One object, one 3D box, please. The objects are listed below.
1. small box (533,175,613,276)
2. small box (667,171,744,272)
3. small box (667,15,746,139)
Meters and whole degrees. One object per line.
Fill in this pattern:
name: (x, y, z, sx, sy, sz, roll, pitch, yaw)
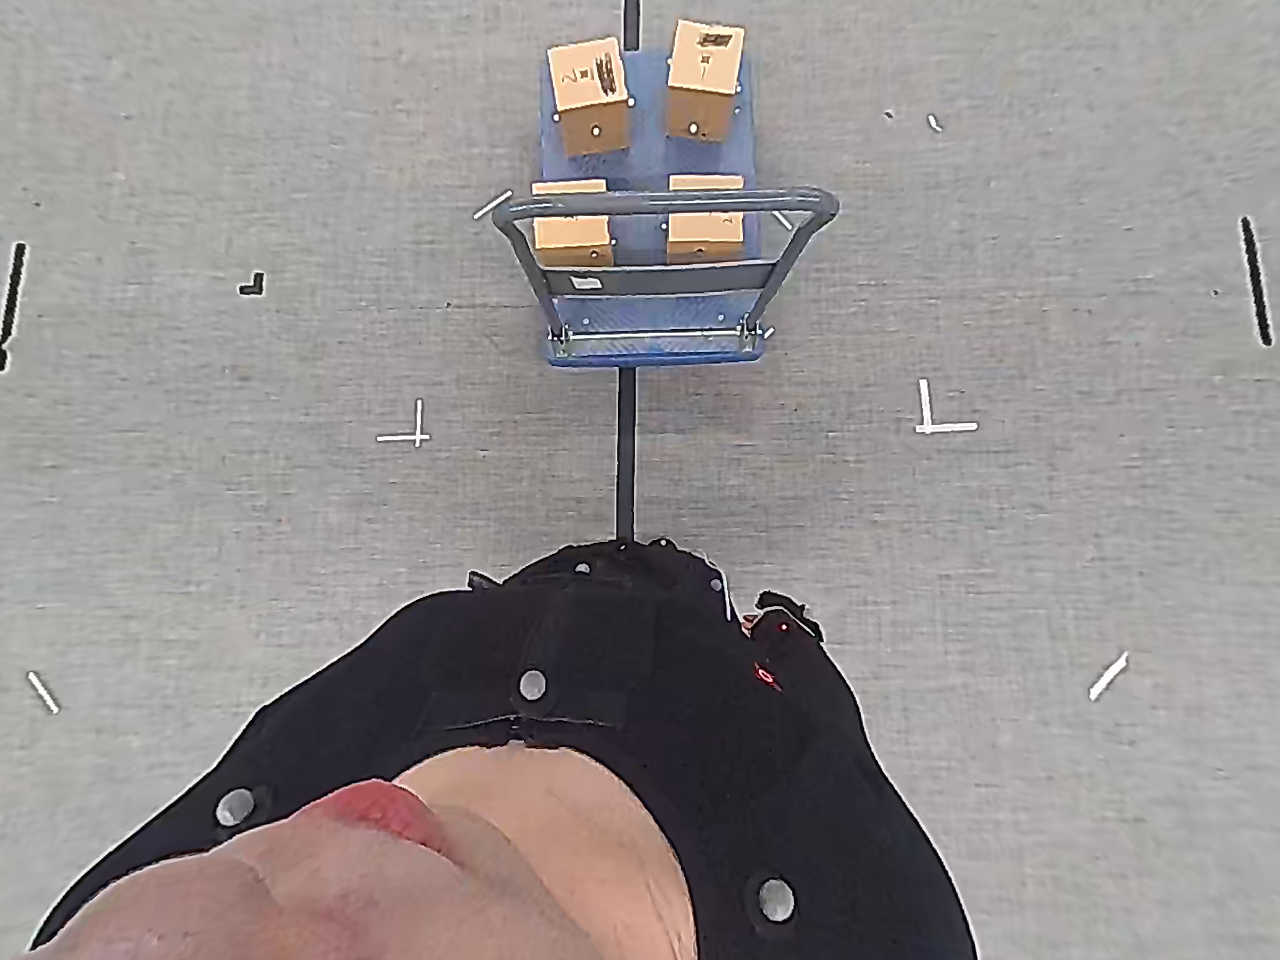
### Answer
small box: (-0.161, -0.620, 1.338, 0.179, 0.176, 0.168, -4, 85, -1)
small box: (0.156, -0.631, 1.334, 0.179, 0.176, 0.168, 1, 85, 1)
small box: (0.161, -1.015, 1.370, 0.168, 0.176, 0.179, 9, 86, 1)
